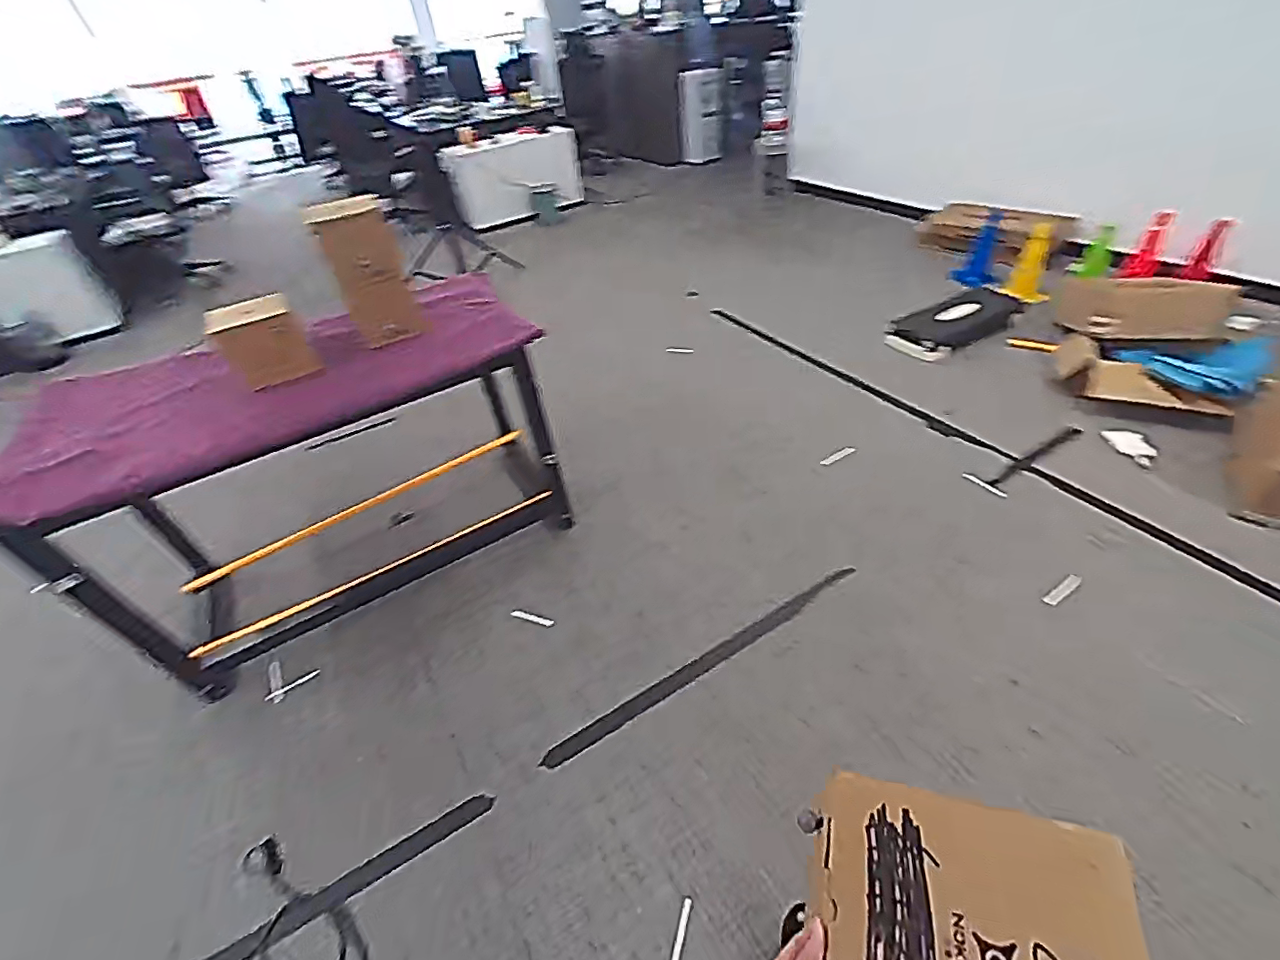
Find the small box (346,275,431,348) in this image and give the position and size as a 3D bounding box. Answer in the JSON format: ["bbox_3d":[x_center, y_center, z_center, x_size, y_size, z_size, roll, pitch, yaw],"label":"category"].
[{"bbox_3d":[-0.709,-0.496,1.523,0.168,0.176,0.179,-23,44,-16],"label":"small box"}]

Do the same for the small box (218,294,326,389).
[{"bbox_3d":[-0.953,-0.359,1.408,0.179,0.176,0.168,-25,44,-20],"label":"small box"}]

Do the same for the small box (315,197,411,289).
[{"bbox_3d":[-0.723,-0.620,1.415,0.168,0.176,0.179,-24,44,-16],"label":"small box"}]
